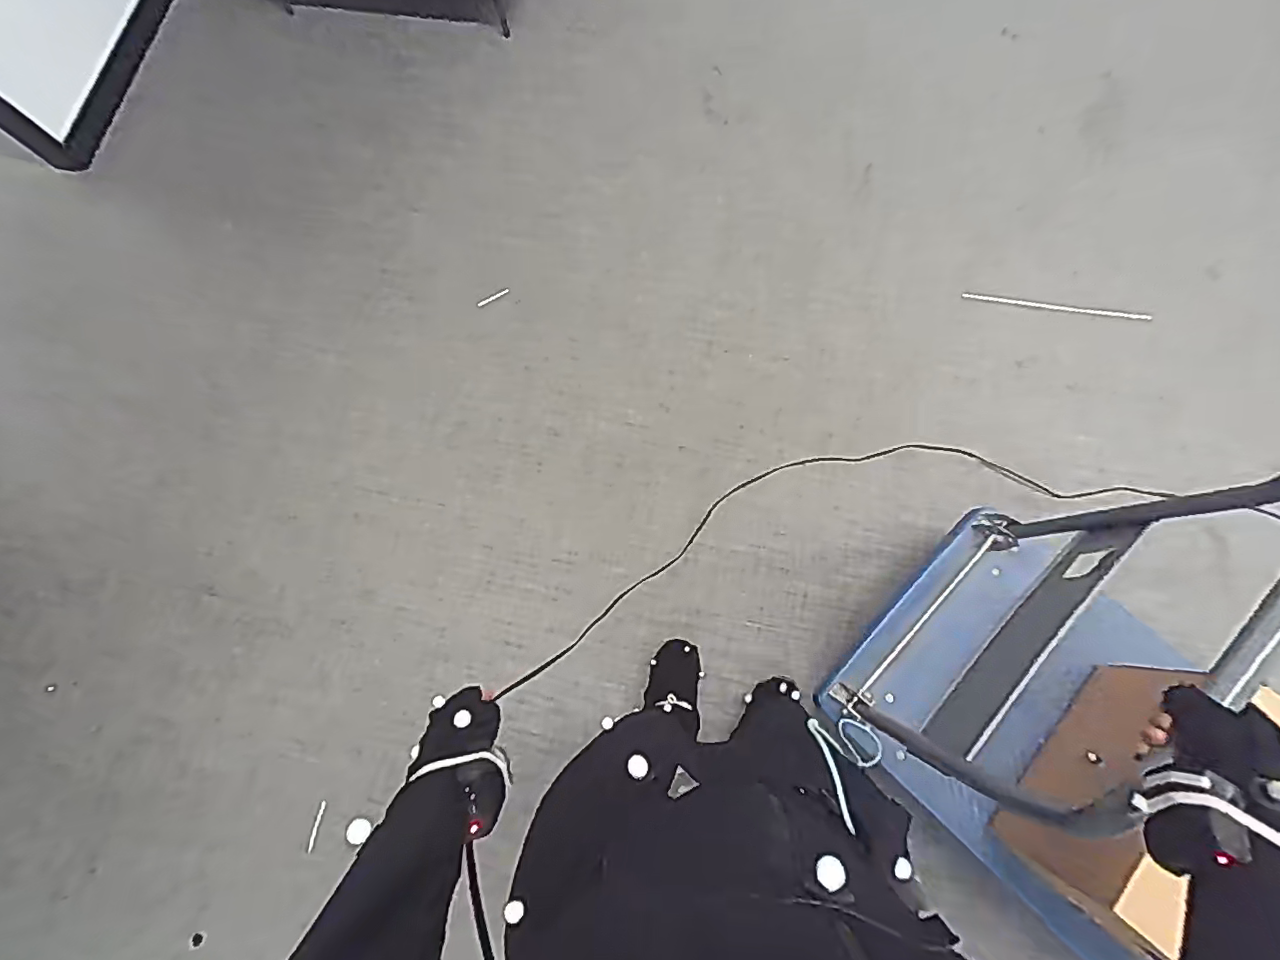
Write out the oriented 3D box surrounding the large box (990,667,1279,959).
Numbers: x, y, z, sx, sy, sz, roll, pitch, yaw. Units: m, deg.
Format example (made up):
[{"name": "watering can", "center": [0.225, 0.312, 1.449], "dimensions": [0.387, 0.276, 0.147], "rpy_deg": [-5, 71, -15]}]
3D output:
[{"name": "large box", "center": [0.884, 0.572, 0.881], "dimensions": [0.320, 0.320, 0.408], "rpy_deg": [39, 80, 11]}]
